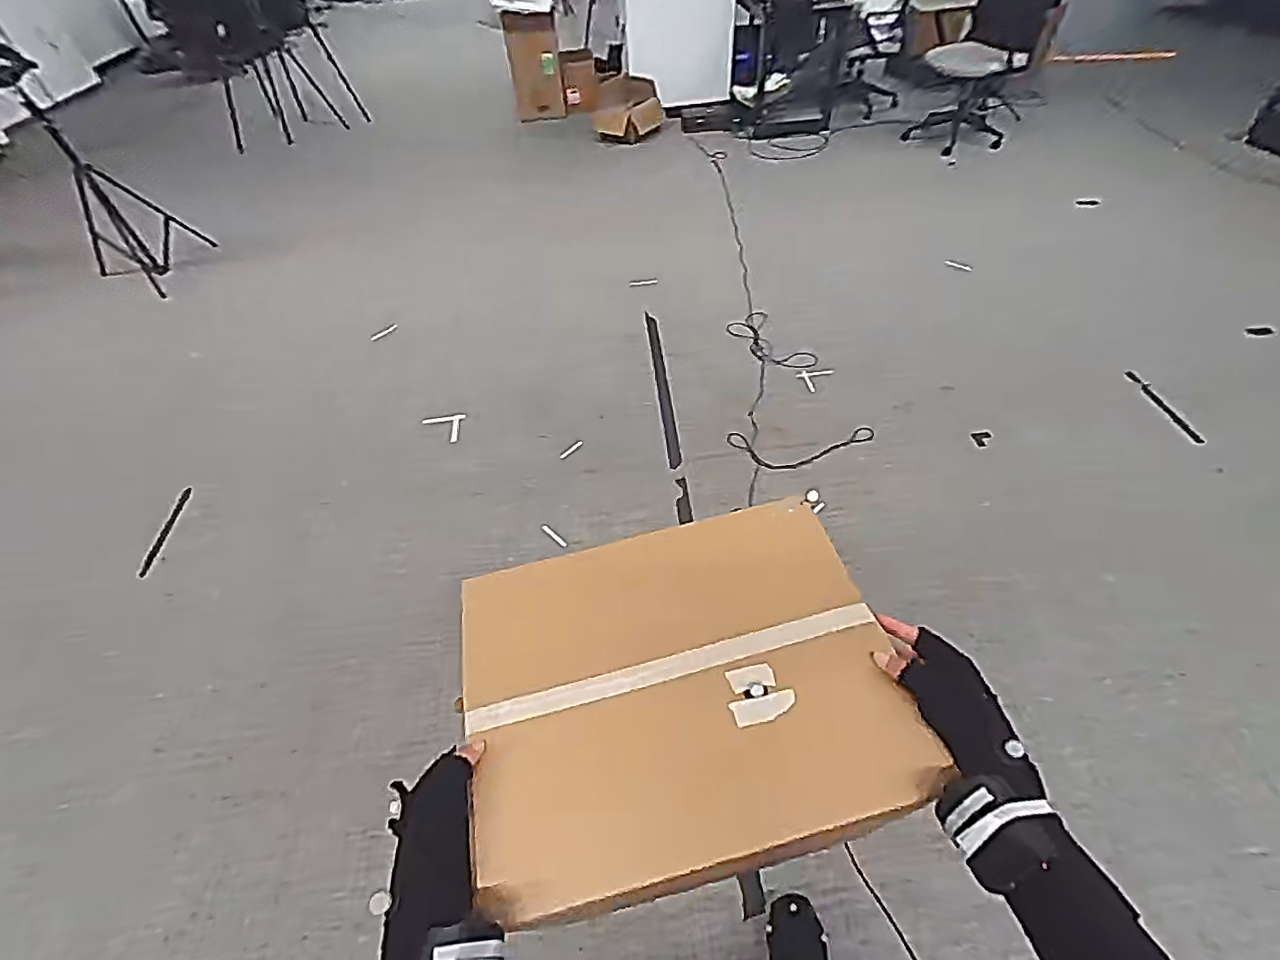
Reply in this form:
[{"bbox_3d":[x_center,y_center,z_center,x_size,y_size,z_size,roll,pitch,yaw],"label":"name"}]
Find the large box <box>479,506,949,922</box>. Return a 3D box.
[{"bbox_3d":[0.054,0.284,0.653,0.408,0.320,0.320,-13,52,-4],"label":"large box"}]
